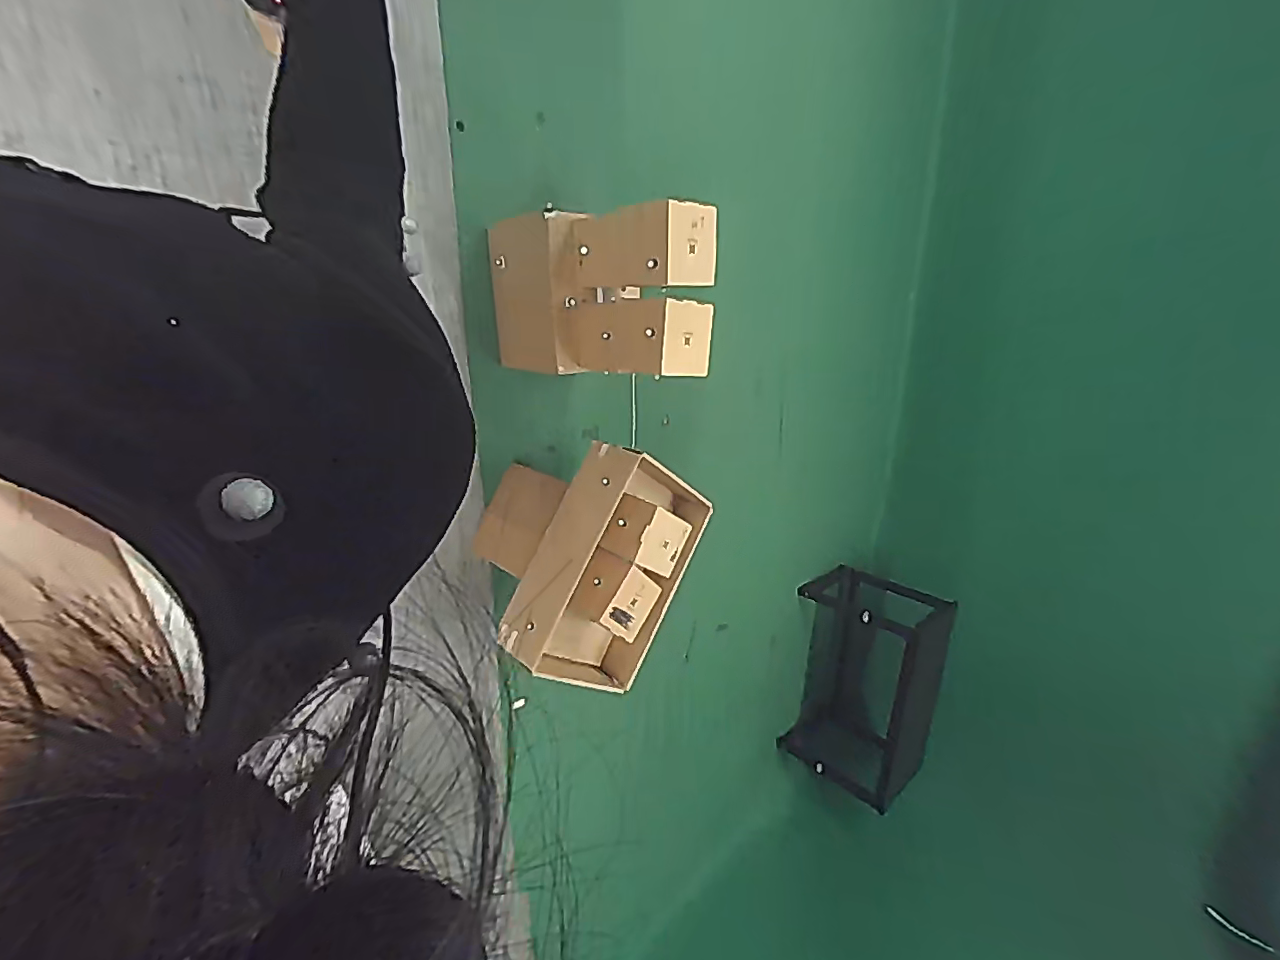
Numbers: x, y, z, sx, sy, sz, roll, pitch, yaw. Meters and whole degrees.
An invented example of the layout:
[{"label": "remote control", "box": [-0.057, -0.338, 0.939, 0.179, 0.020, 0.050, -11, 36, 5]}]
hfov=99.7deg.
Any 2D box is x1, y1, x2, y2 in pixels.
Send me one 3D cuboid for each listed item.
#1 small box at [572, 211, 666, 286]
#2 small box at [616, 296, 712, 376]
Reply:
[{"label": "small box", "box": [-0.053, -0.590, 1.390, 0.179, 0.176, 0.168, -20, 117, -39]}, {"label": "small box", "box": [0.054, -0.354, 1.339, 0.168, 0.176, 0.179, -9, 108, -42]}]
